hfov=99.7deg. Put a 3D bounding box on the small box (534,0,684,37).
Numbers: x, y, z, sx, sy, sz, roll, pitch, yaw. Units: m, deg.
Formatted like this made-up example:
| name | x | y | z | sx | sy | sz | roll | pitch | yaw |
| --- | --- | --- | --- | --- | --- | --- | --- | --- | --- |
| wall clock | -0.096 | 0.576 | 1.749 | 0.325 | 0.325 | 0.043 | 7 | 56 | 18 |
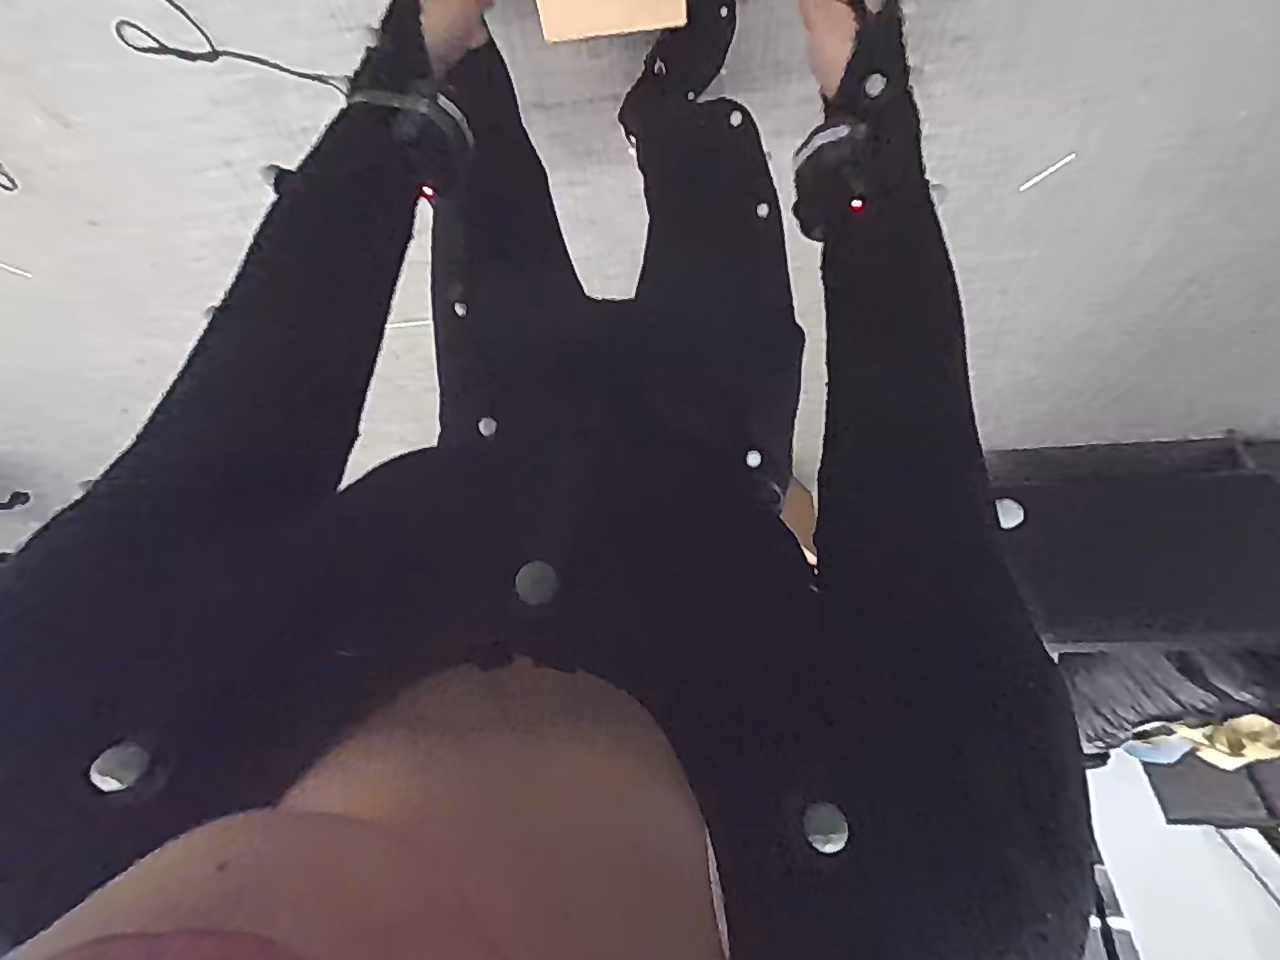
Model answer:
| name | x | y | z | sx | sy | sz | roll | pitch | yaw |
| --- | --- | --- | --- | --- | --- | --- | --- | --- | --- |
| small box | -0.042 | -0.655 | 0.627 | 0.179 | 0.176 | 0.168 | -2 | 145 | 6 |
